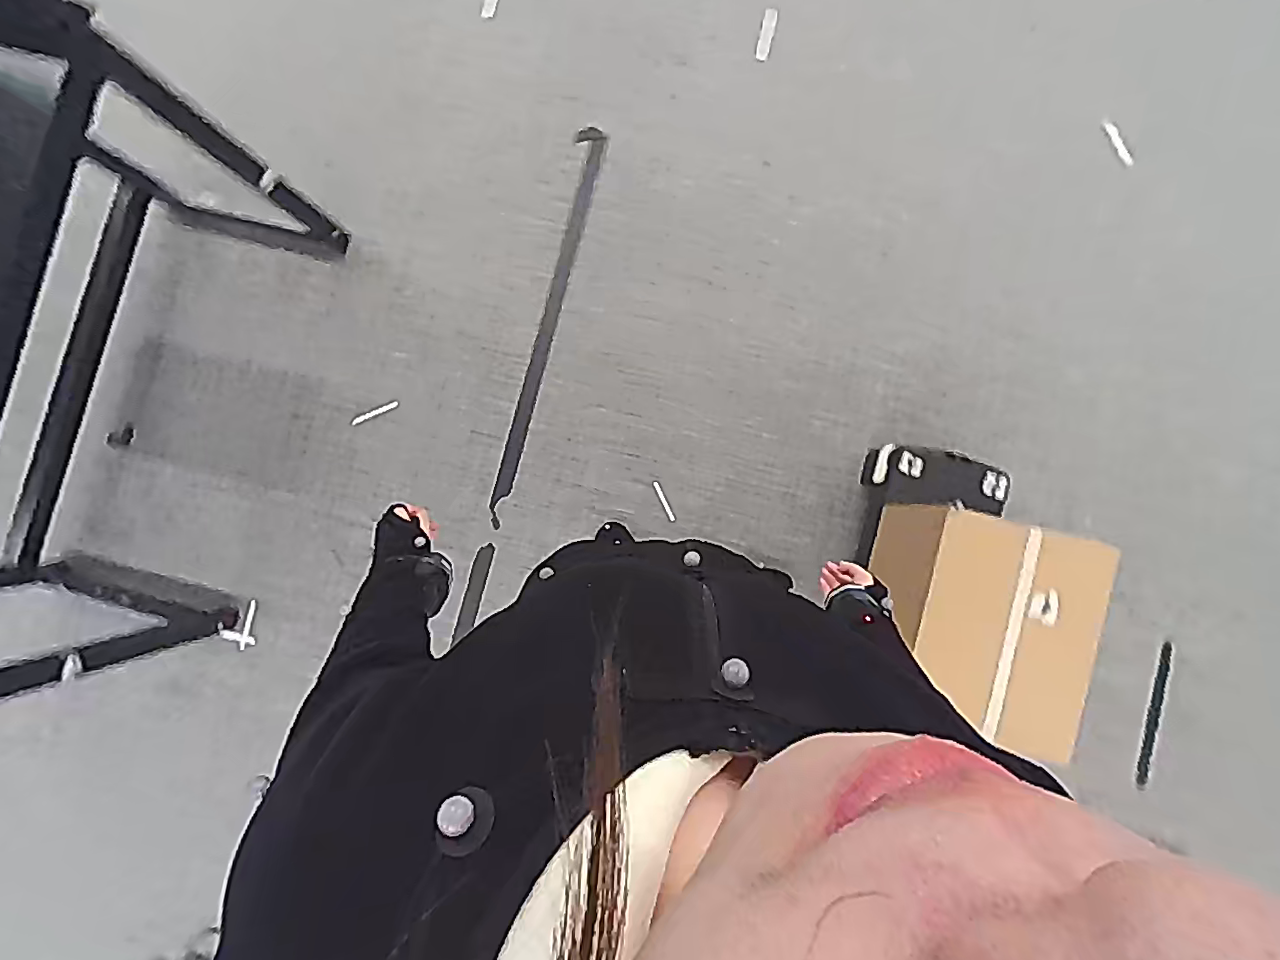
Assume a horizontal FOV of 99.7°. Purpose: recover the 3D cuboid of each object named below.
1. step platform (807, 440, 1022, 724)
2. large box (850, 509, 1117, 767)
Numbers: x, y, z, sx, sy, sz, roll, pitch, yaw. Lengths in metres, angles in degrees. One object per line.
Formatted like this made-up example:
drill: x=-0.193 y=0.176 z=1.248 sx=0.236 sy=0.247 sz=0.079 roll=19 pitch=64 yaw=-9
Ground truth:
step platform: x=0.680 y=0.247 z=1.360 sx=0.286 sy=0.204 sz=0.684 roll=21 pitch=88 yaw=3
large box: x=0.672 y=0.291 z=1.119 sx=0.320 sy=0.320 sz=0.408 roll=15 pitch=87 yaw=3
